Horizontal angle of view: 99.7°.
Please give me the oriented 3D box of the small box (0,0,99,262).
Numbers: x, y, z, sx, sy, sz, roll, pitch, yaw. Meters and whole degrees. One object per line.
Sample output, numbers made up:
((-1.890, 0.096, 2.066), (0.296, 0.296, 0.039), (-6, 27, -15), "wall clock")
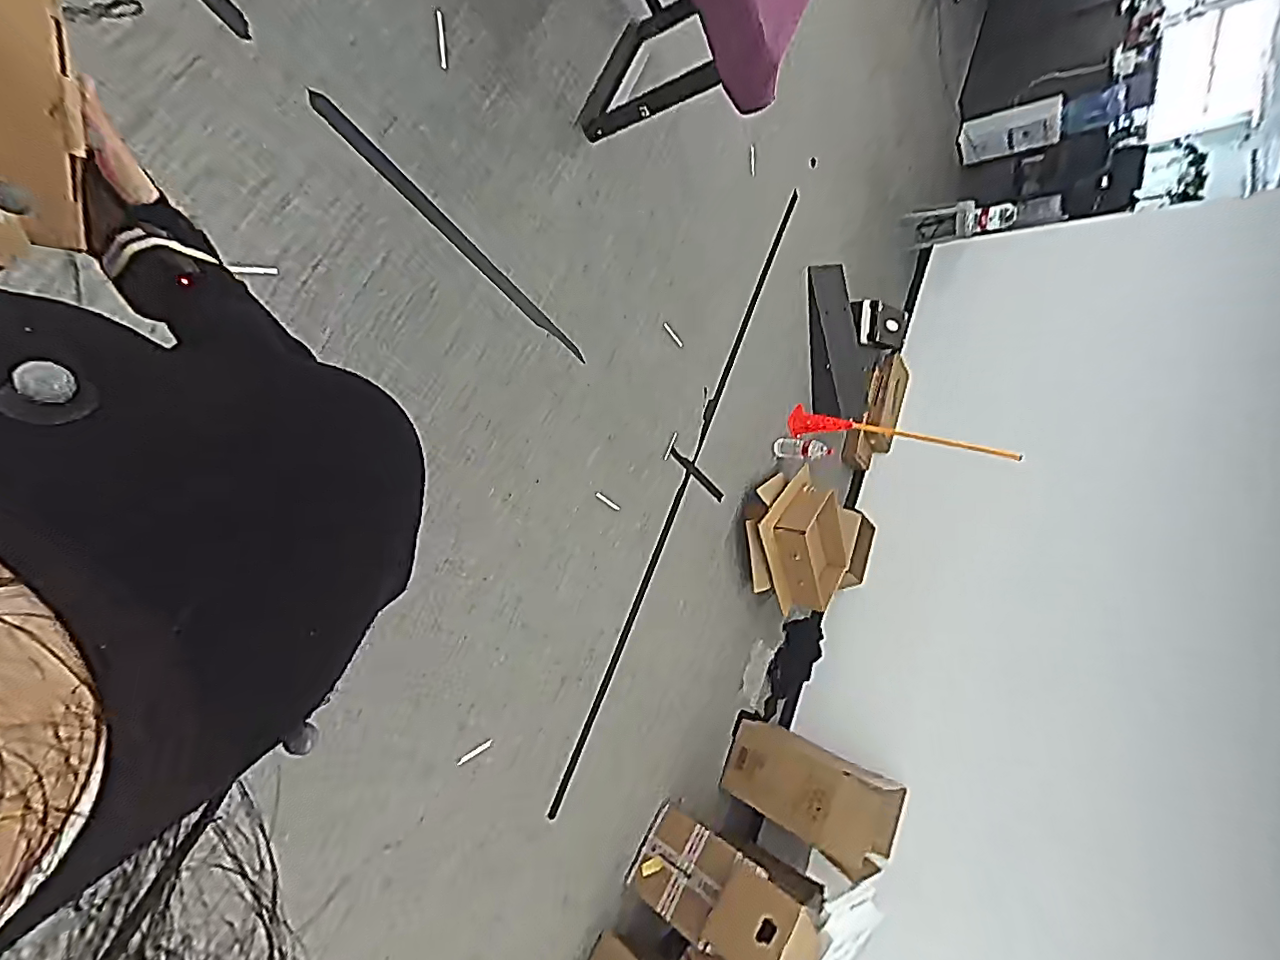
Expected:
((-0.476, -0.249, 0.341), (0.179, 0.176, 0.168), (-5, 111, -47), "small box")
